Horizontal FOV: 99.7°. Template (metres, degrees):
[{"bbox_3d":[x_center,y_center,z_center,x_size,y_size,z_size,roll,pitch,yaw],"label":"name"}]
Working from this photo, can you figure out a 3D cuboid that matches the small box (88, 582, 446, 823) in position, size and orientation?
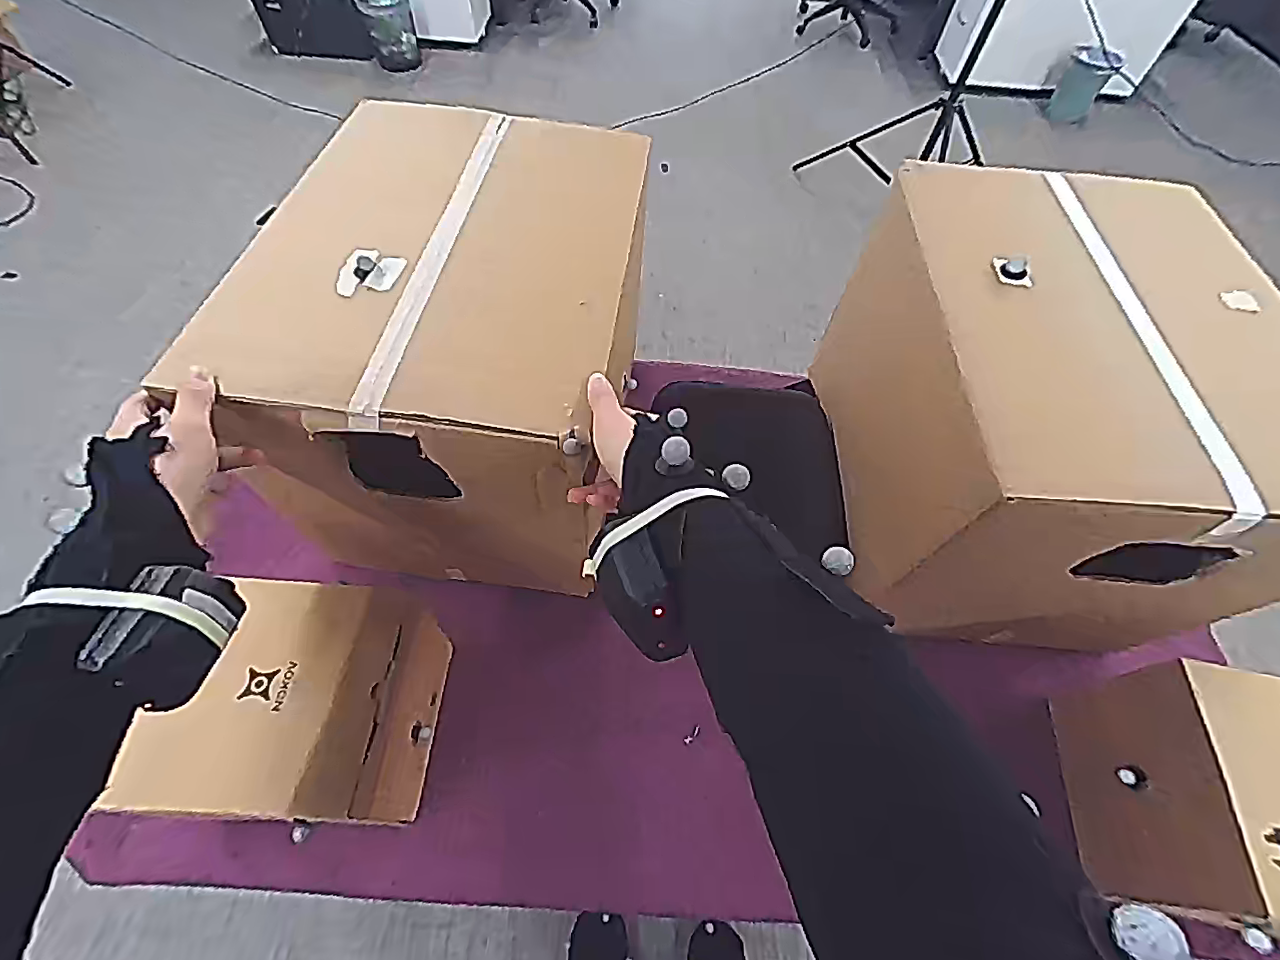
[{"bbox_3d":[-0.291,0.202,0.477,0.179,0.176,0.168,4,57,-4],"label":"small box"}]

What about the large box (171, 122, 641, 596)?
[{"bbox_3d":[-0.177,-0.122,0.611,0.320,0.320,0.408,6,60,1],"label":"large box"}]
